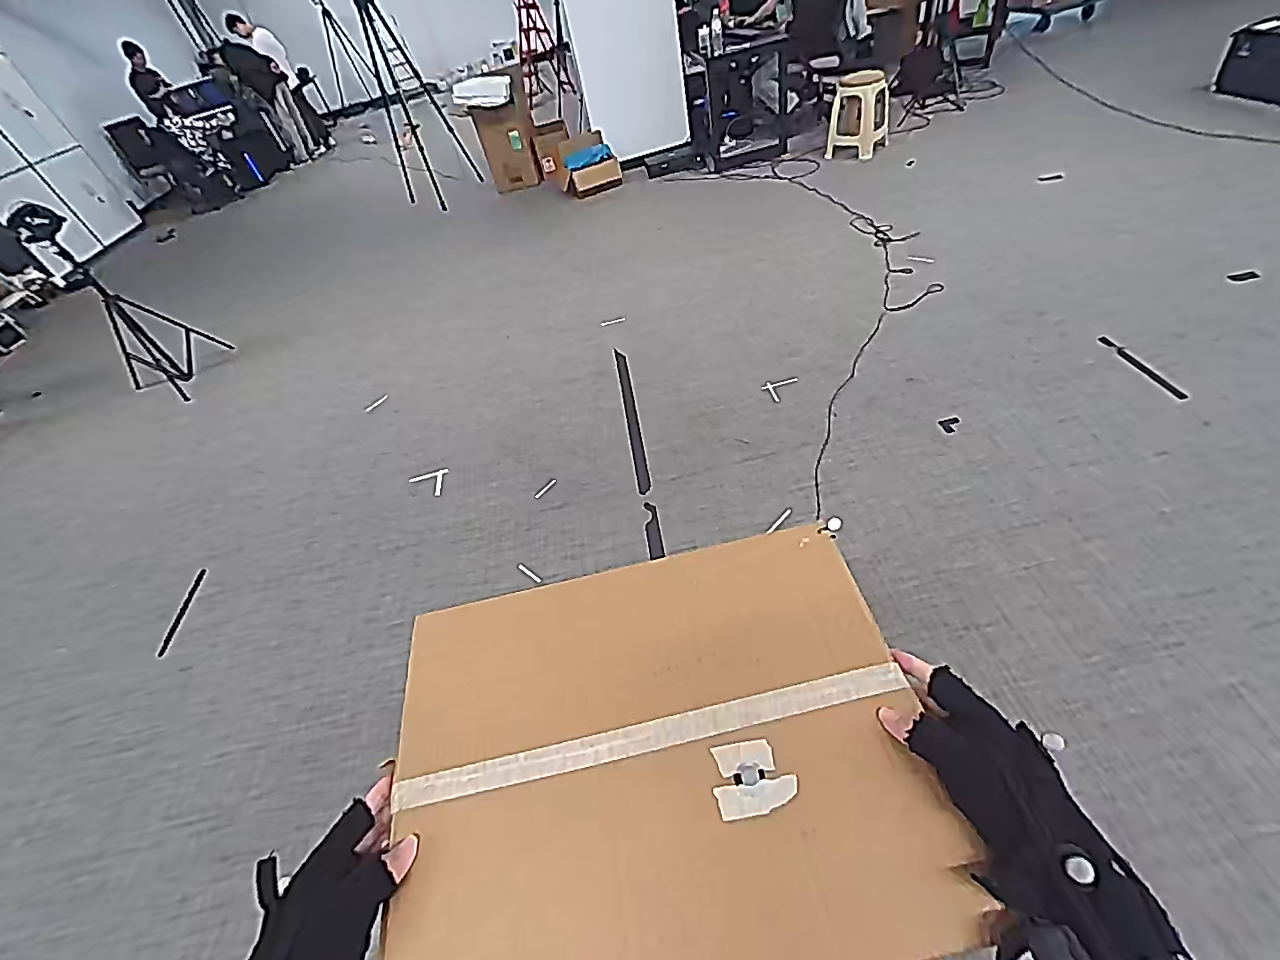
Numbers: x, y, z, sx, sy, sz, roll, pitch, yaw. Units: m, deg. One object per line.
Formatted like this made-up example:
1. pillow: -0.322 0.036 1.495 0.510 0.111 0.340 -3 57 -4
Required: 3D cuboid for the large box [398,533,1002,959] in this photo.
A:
1. large box: 0.032 0.305 0.545 0.408 0.320 0.320 -13 49 0
